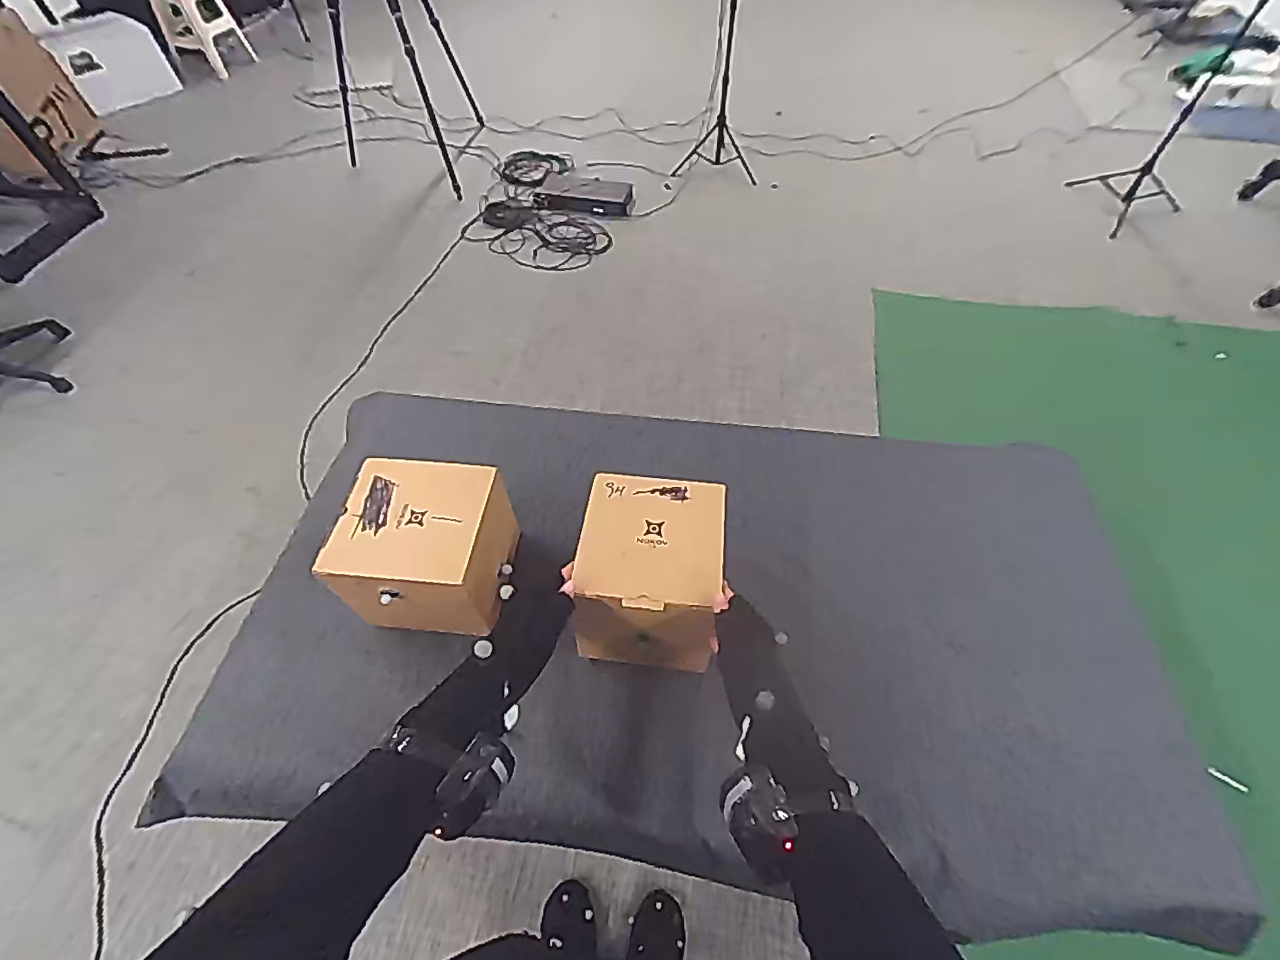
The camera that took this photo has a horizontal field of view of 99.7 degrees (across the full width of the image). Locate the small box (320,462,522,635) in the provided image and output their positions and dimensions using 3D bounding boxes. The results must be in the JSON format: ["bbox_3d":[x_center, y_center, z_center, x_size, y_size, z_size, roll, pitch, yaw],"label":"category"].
[{"bbox_3d":[-0.272,0.095,0.719,0.179,0.176,0.168,5,55,3],"label":"small box"}]

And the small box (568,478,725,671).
[{"bbox_3d":[0.015,0.123,0.686,0.168,0.176,0.179,6,49,5],"label":"small box"}]
